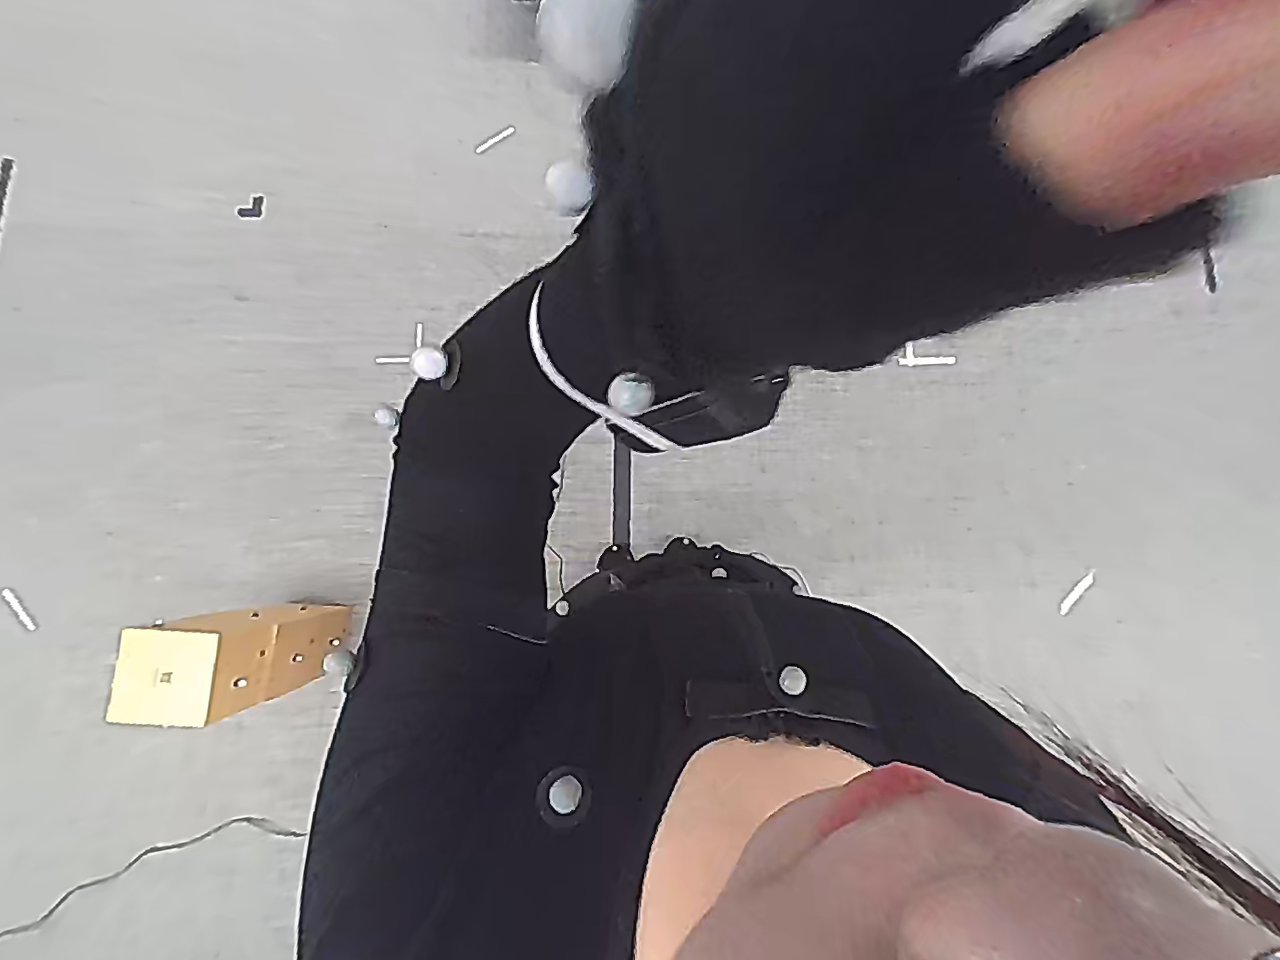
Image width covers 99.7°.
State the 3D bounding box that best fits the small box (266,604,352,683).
[{"bbox_3d":[-0.869,0.412,1.384,0.179,0.176,0.168,4,82,-2],"label":"small box"}]

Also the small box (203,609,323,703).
[{"bbox_3d":[-0.854,0.389,1.220,0.179,0.176,0.168,6,82,0],"label":"small box"}]

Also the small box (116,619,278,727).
[{"bbox_3d":[-0.851,0.369,1.059,0.179,0.176,0.168,3,83,-1],"label":"small box"}]
